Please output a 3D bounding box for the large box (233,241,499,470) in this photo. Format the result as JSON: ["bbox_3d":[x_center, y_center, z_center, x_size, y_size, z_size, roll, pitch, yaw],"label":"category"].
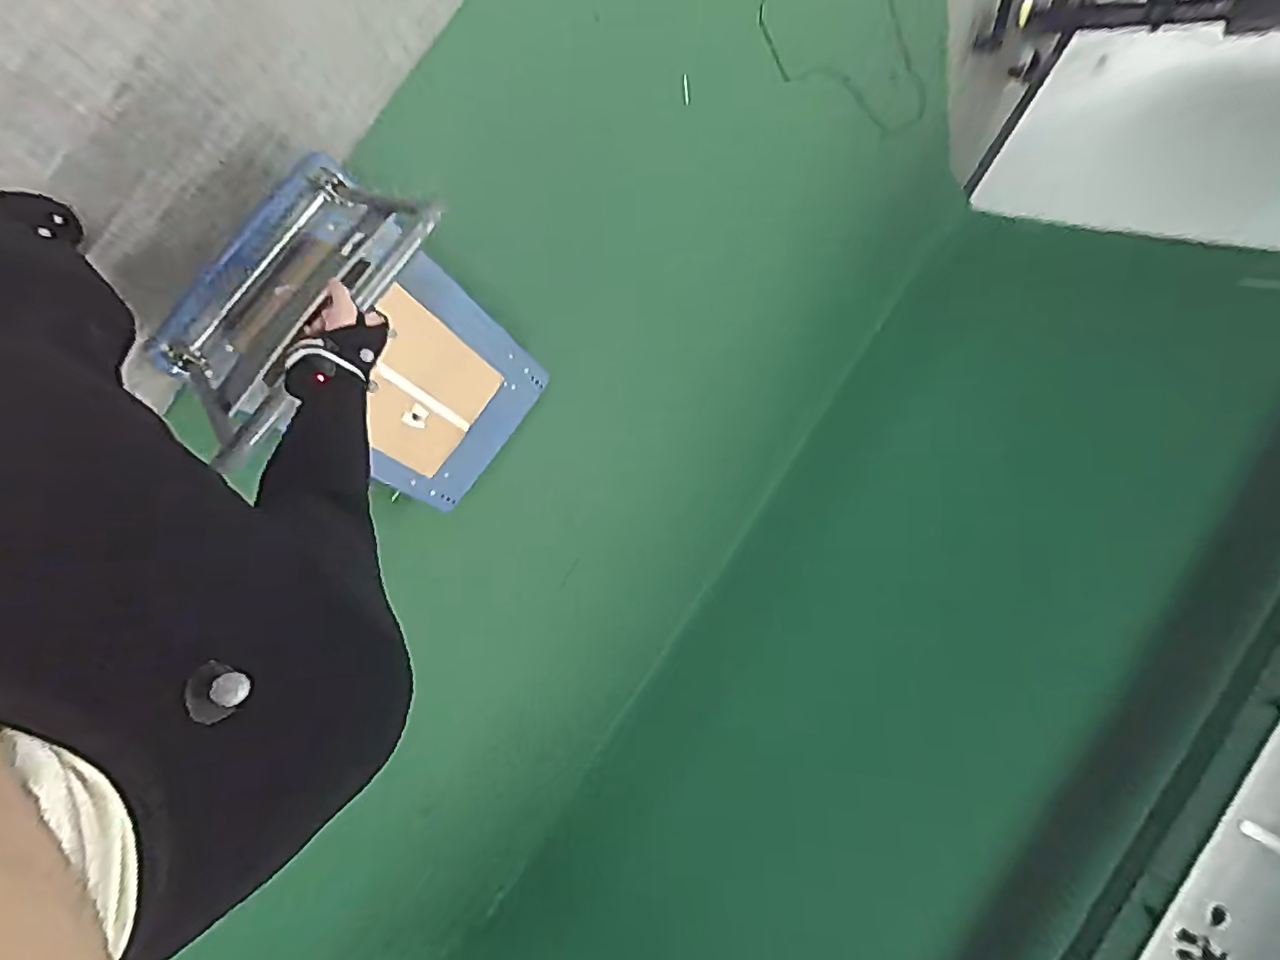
[{"bbox_3d":[-0.630,-0.285,1.275,0.320,0.320,0.408,-54,144,-5],"label":"large box"}]
